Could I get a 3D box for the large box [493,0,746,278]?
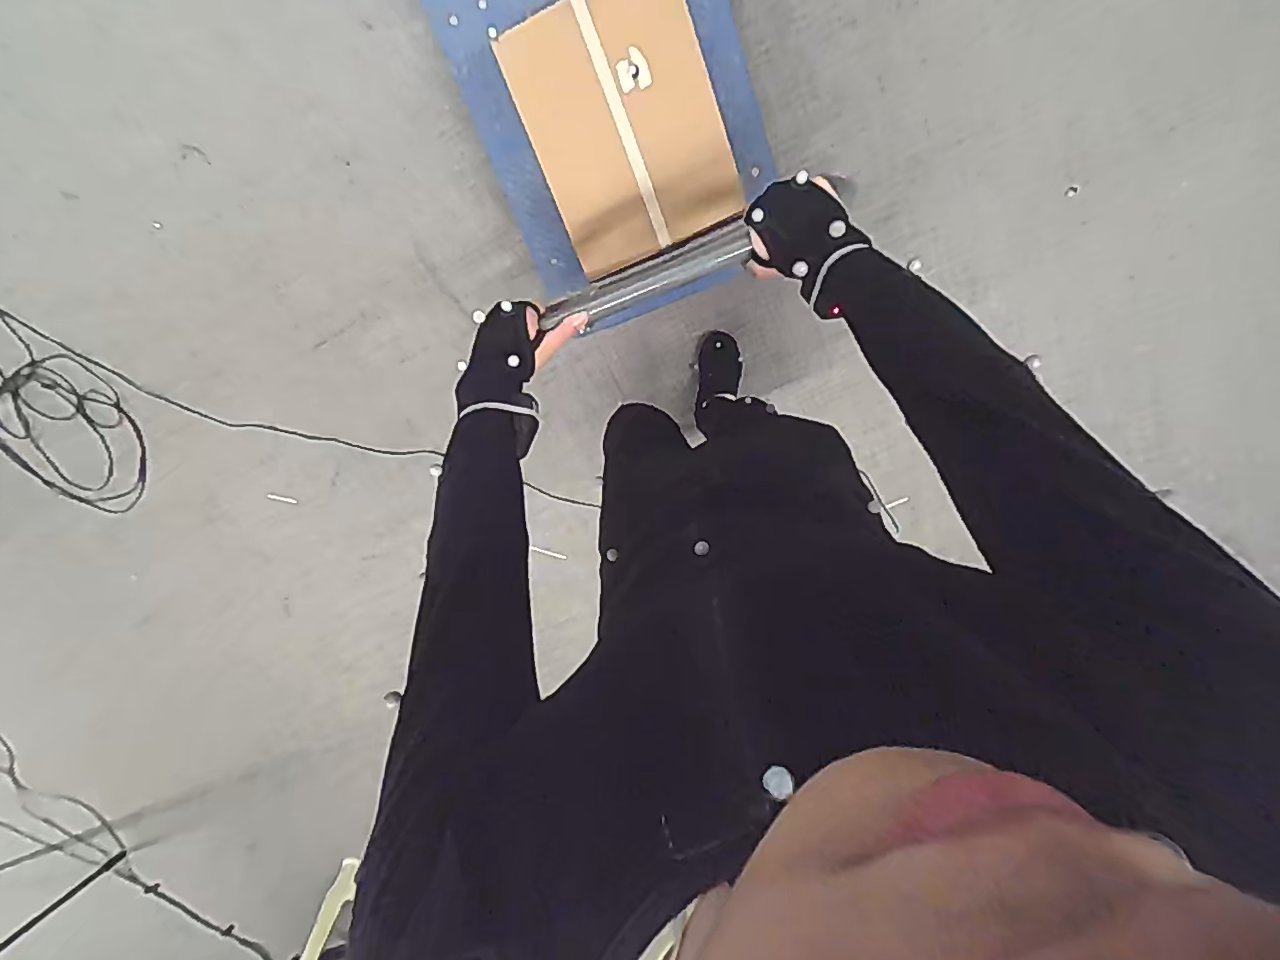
[{"bbox_3d":[-0.014,-0.651,1.053,0.320,0.320,0.408,-19,108,11],"label":"large box"}]
